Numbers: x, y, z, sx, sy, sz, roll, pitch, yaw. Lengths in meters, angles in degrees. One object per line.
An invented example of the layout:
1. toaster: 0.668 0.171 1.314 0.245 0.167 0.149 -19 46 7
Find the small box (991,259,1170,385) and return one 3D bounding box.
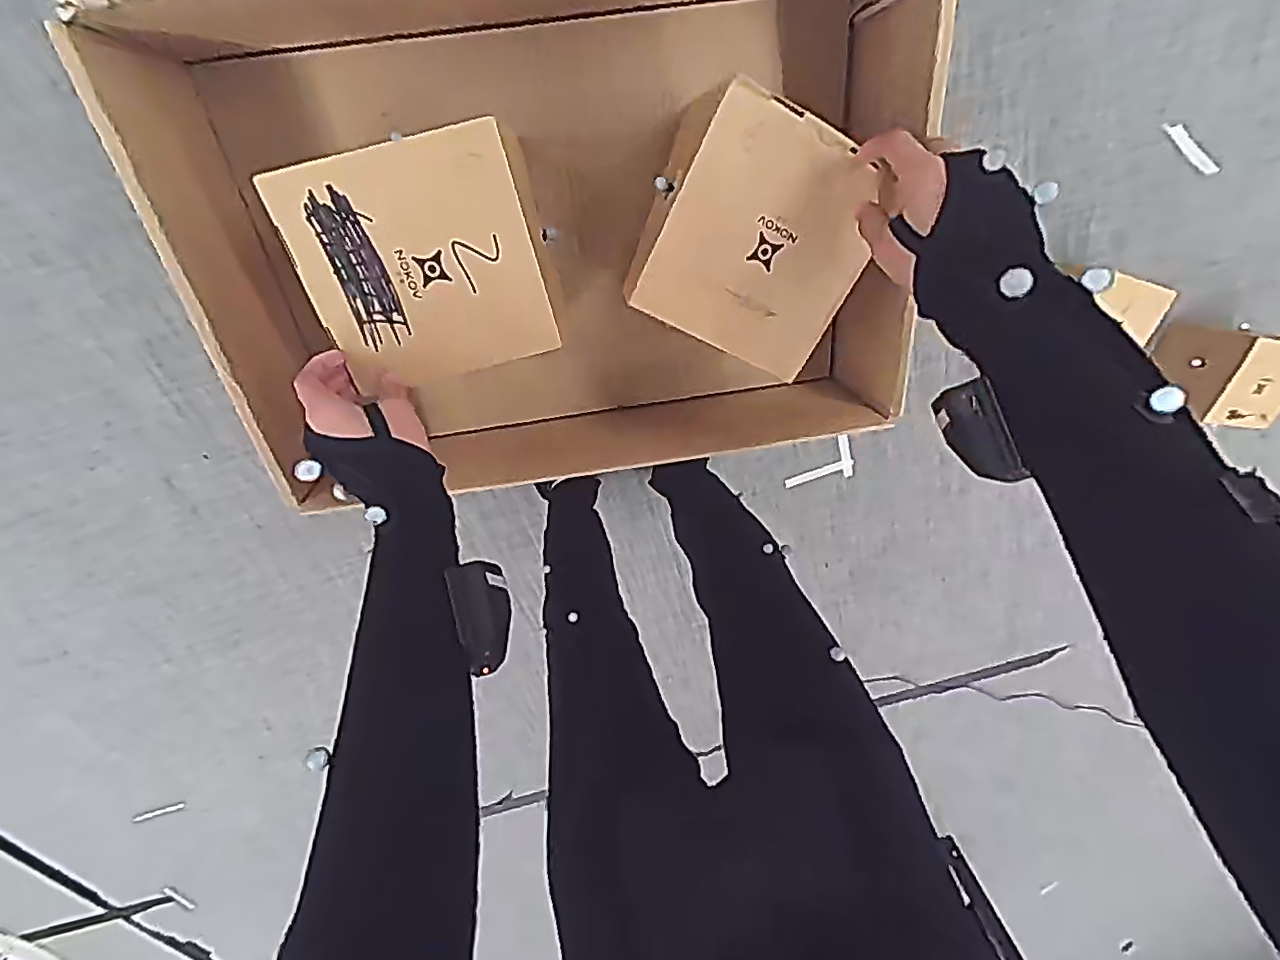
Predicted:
1. small box: 0.819 -0.305 1.032 0.168 0.176 0.179 11 116 -13

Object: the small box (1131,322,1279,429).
1. small box: 1.195 -0.222 1.124 0.168 0.176 0.179 5 116 -9

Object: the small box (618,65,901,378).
1. small box: 0.088 -0.226 0.502 0.168 0.176 0.179 24 111 -17
